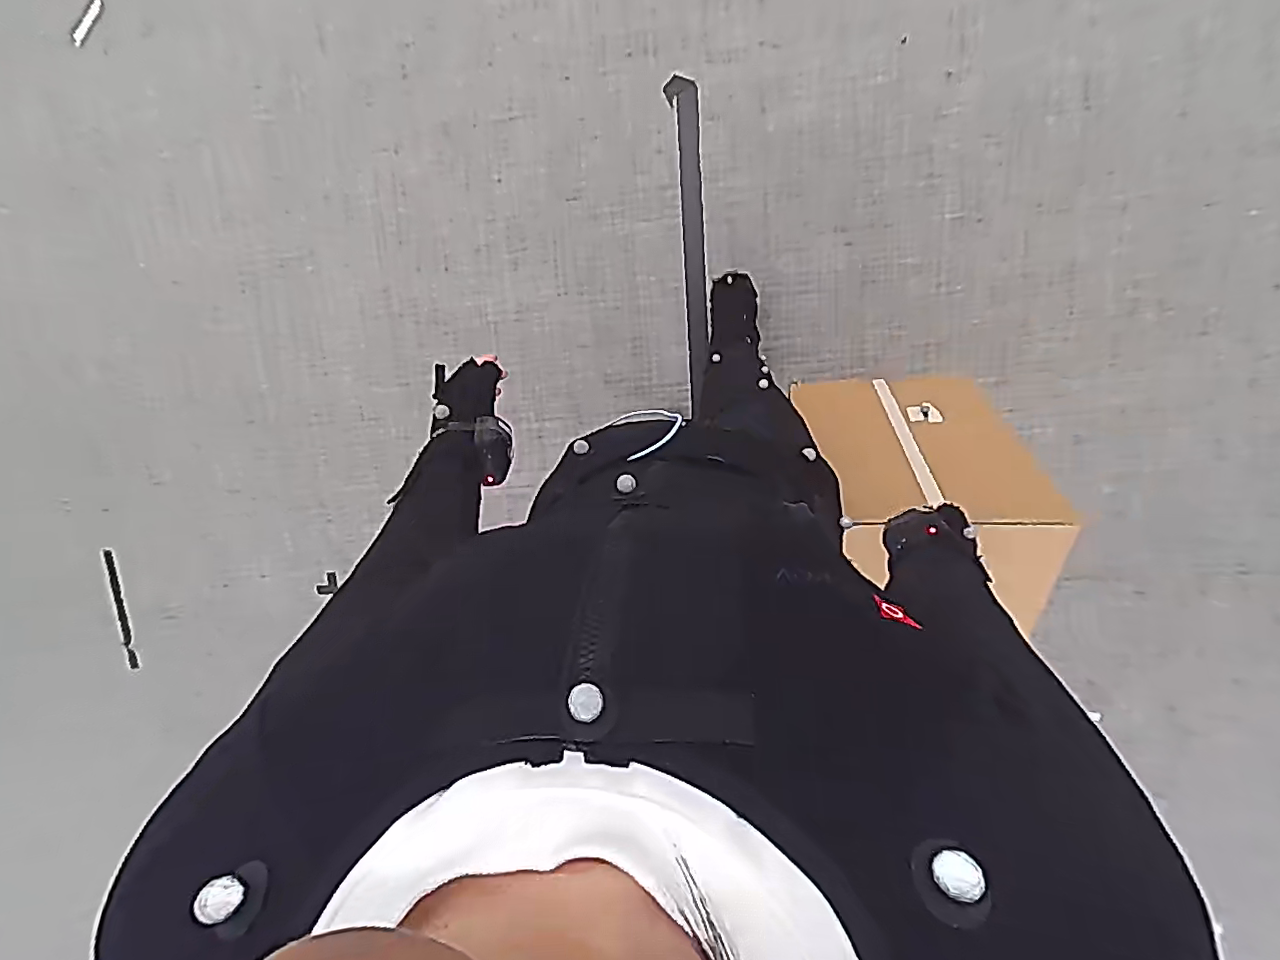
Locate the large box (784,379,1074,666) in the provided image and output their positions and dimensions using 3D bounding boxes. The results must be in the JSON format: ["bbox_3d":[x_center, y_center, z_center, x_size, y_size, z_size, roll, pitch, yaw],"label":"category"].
[{"bbox_3d":[0.425,0.058,0.926,0.320,0.408,0.320,0,124,9],"label":"large box"}]
